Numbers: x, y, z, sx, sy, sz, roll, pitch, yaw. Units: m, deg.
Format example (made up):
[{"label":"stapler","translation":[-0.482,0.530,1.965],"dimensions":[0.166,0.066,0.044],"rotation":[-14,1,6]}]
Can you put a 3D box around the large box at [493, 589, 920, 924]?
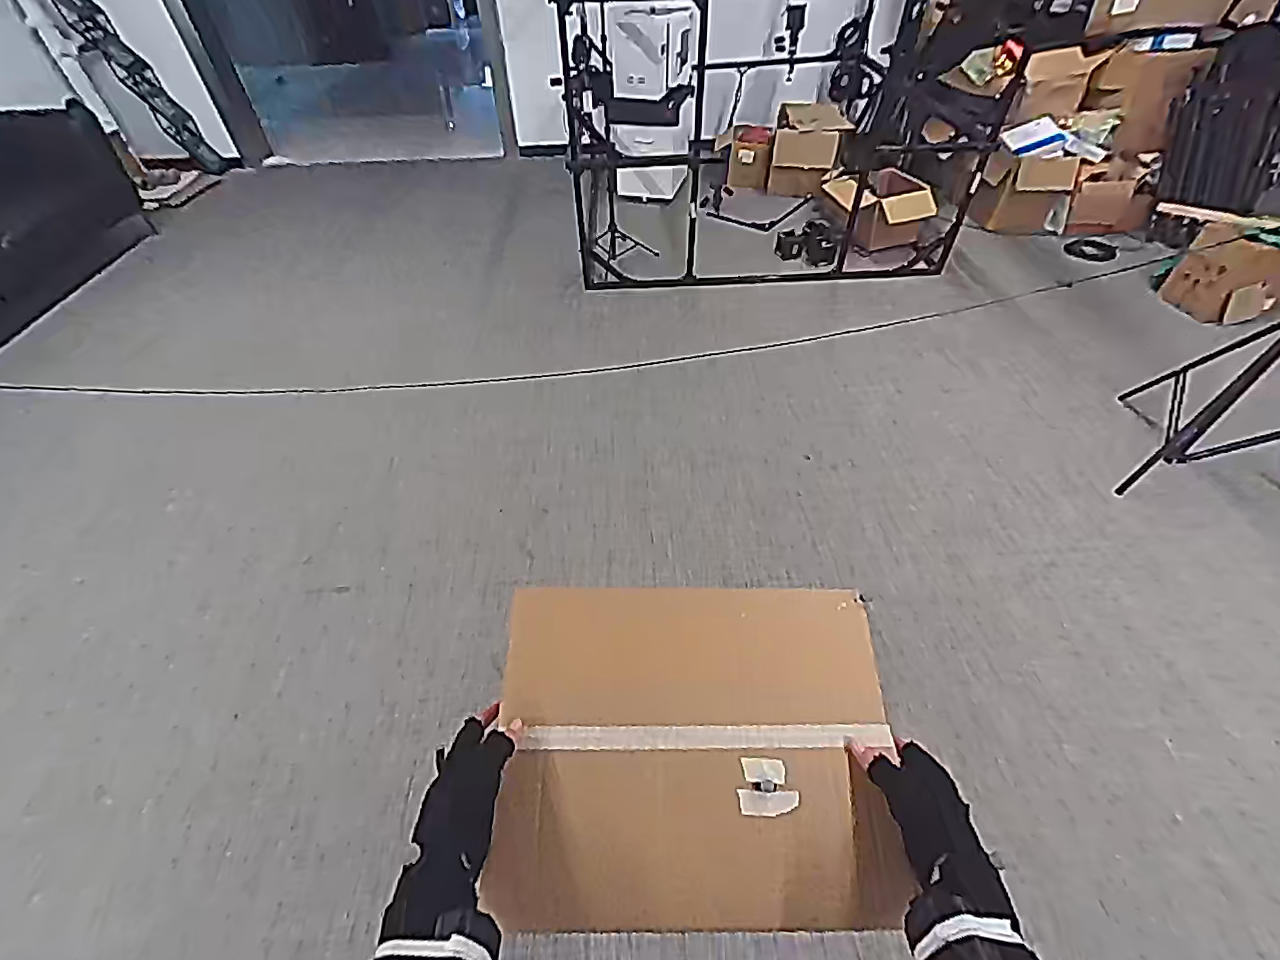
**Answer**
[{"label":"large box","translation":[0.056,0.338,0.695],"dimensions":[0.408,0.320,0.320],"rotation":[1,61,-1]}]
